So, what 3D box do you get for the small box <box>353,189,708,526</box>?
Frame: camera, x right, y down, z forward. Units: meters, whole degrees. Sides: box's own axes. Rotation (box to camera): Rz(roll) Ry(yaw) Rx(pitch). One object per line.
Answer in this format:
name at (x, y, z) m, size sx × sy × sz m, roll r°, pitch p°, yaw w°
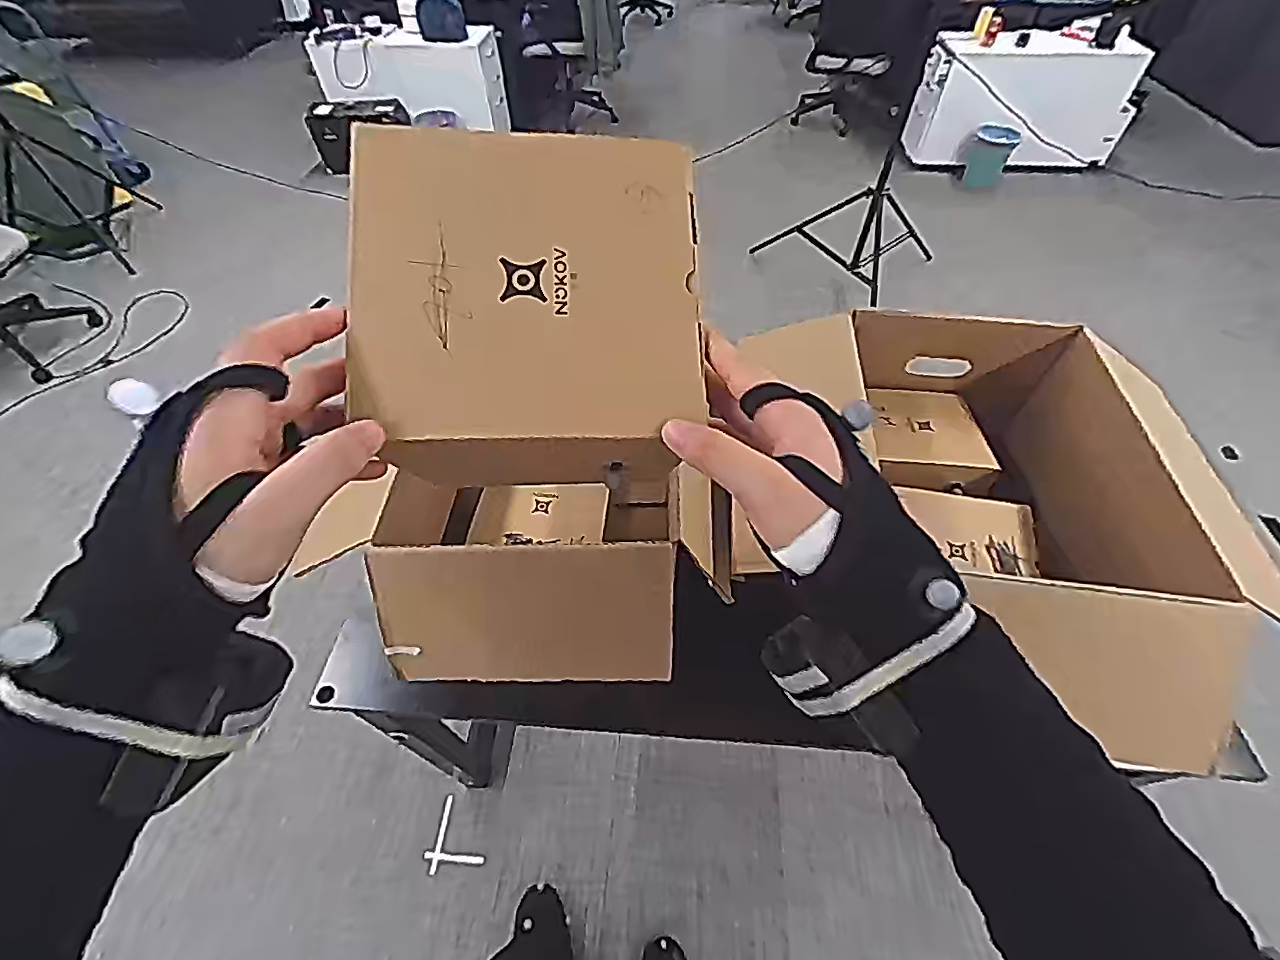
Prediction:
small box at (-0.064, -0.060, 0.358) m, size 0.179 × 0.176 × 0.168 m, roll -2°, pitch 80°, yaw -6°
